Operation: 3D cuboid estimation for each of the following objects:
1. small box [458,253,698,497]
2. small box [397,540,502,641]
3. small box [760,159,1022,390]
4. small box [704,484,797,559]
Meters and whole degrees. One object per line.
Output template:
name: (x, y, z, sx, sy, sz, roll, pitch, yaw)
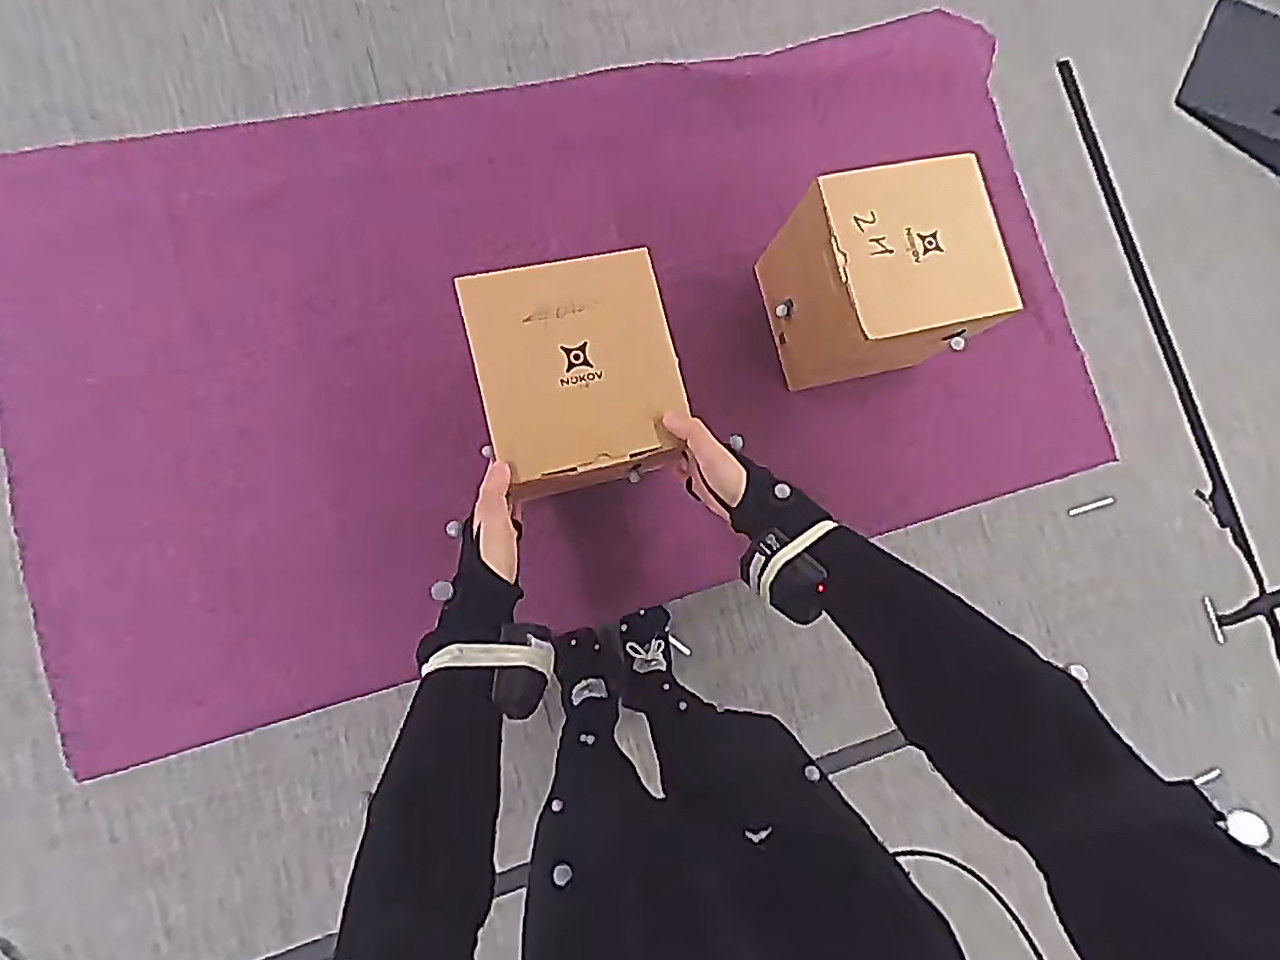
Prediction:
small box: (-0.061, -0.084, 0.520, 0.168, 0.176, 0.179, -14, 86, -12)
small box: (-0.407, 0.233, 1.184, 0.168, 0.176, 0.179, -14, 85, -10)
small box: (0.256, -0.211, 0.591, 0.179, 0.176, 0.168, -13, 85, -9)
small box: (0.262, 0.101, 1.300, 0.179, 0.176, 0.168, 2, 84, -7)
